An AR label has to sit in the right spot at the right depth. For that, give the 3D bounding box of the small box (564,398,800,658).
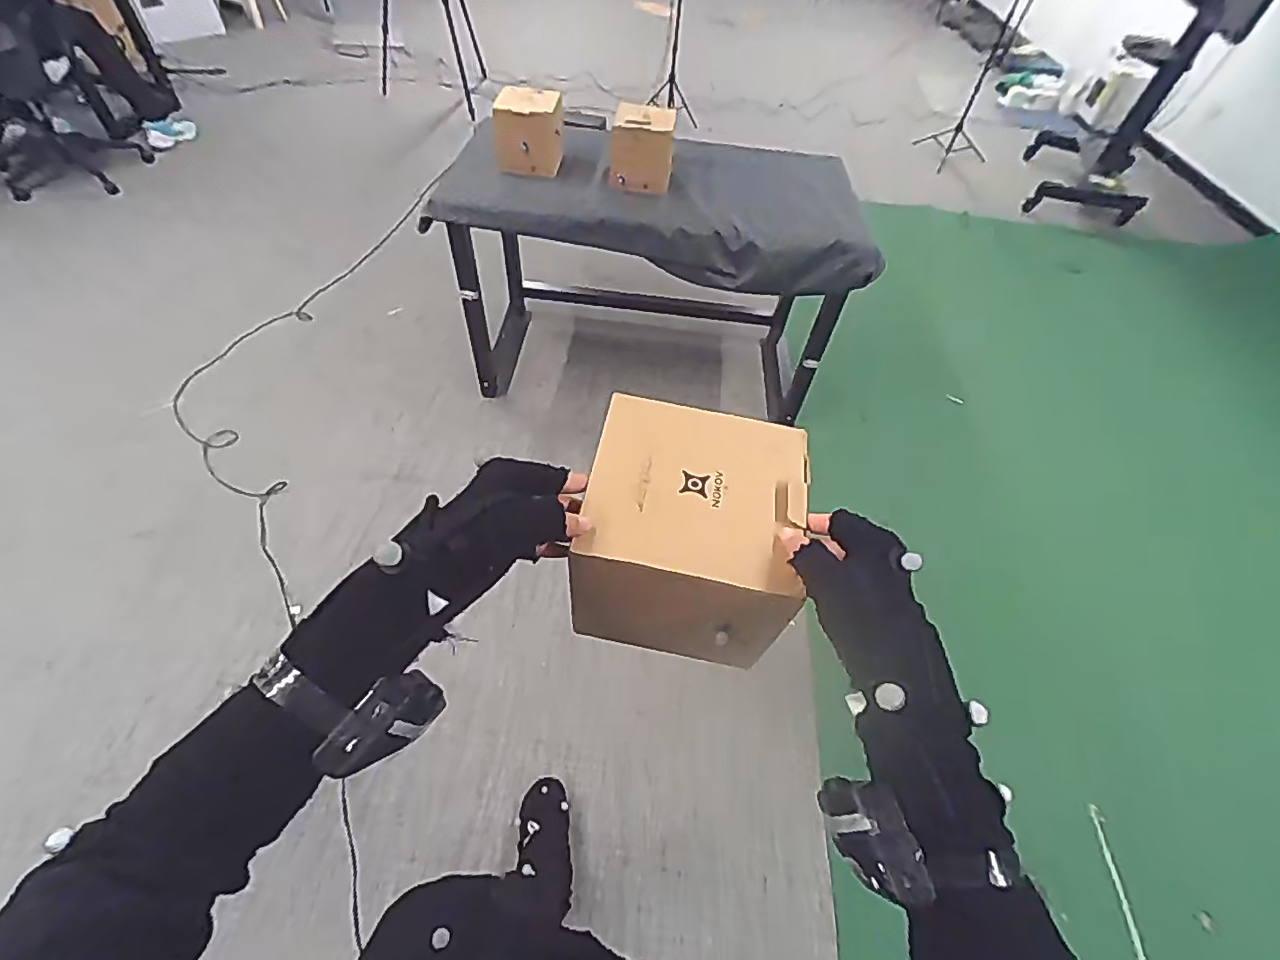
[{"bbox_3d":[0.038,0.051,0.503,0.179,0.176,0.168,9,53,4],"label":"small box"}]

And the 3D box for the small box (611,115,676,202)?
[{"bbox_3d":[0.010,-0.931,1.569,0.168,0.176,0.179,7,50,1],"label":"small box"}]

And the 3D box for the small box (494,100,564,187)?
[{"bbox_3d":[-0.317,-0.984,1.586,0.168,0.176,0.179,5,52,-1],"label":"small box"}]
